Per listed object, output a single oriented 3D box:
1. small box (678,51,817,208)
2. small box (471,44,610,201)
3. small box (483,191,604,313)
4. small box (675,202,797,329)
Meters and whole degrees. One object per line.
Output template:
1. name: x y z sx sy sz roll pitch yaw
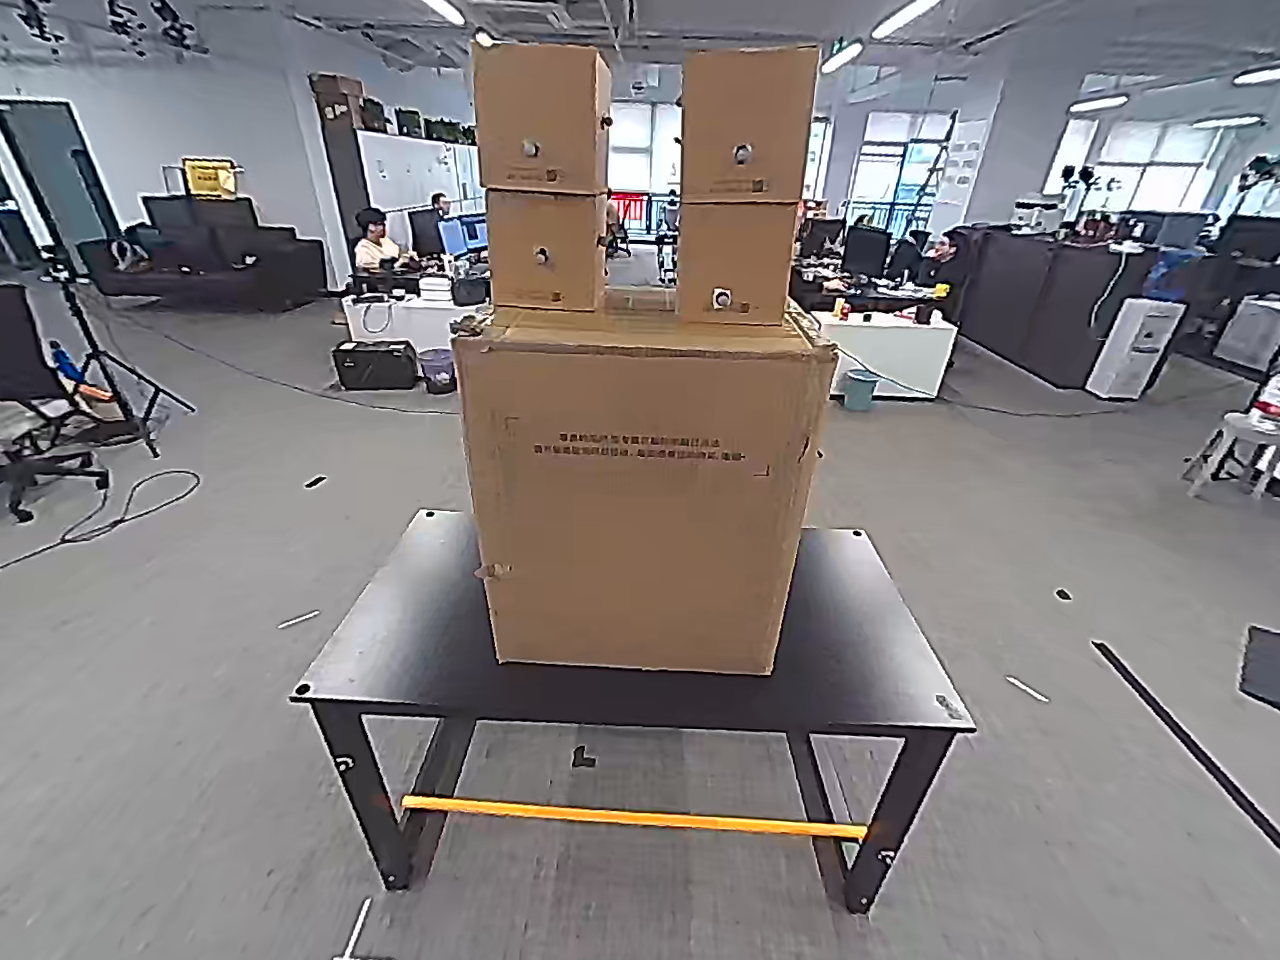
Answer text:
1. small box: 0.142 -0.486 0.766 0.168 0.176 0.179 3 30 6
2. small box: -0.138 -0.517 0.801 0.168 0.176 0.179 4 30 1
3. small box: -0.148 -0.382 0.897 0.168 0.176 0.179 4 30 0
4. small box: 0.141 -0.346 0.854 0.168 0.176 0.179 2 31 4
